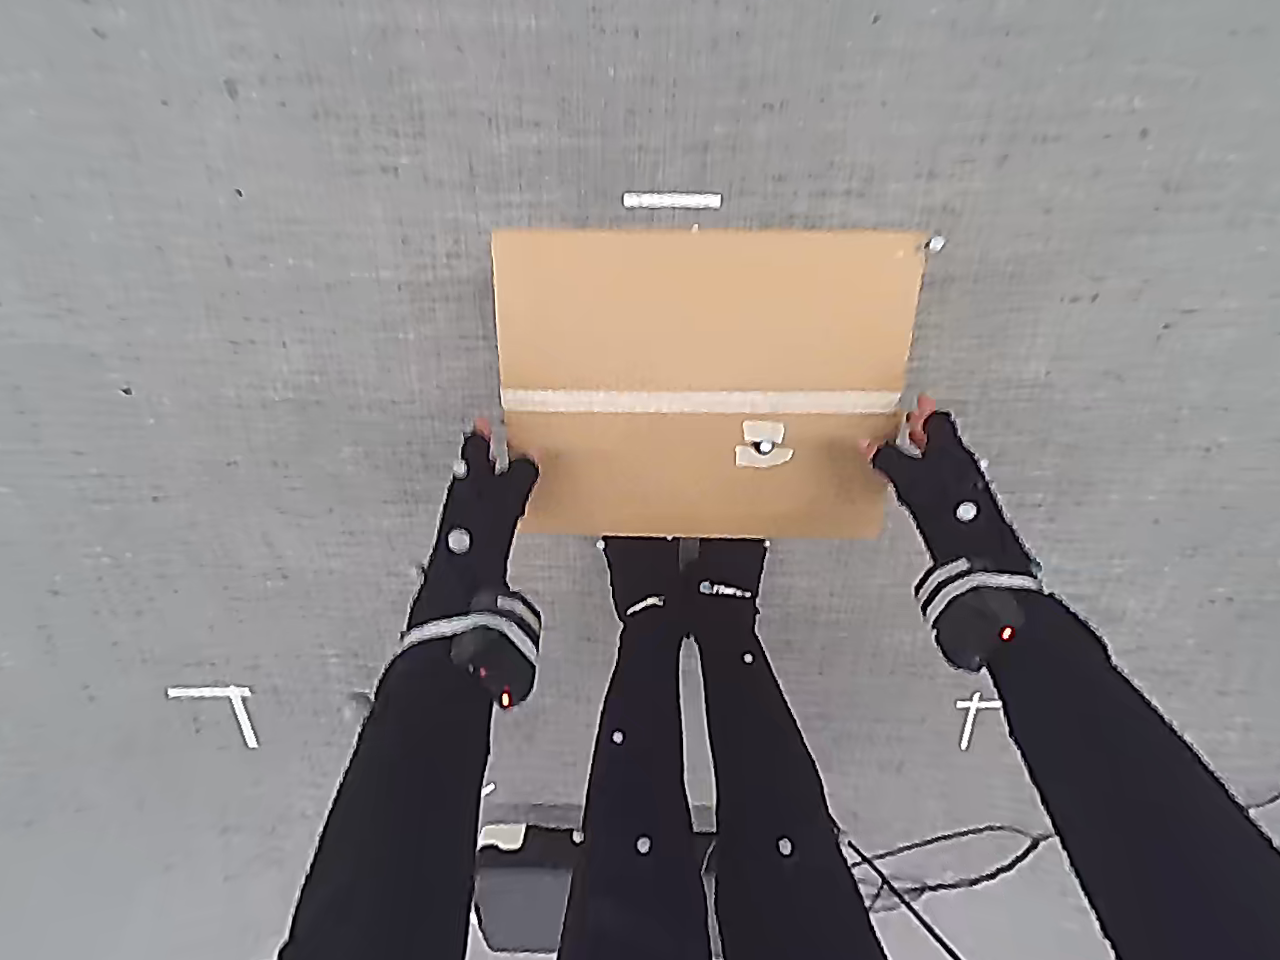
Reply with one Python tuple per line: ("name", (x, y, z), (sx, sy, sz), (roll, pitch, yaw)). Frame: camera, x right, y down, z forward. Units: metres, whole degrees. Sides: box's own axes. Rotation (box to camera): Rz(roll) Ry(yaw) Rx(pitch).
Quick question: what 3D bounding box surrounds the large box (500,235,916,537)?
("large box", (0.066, -0.131, 0.701), (0.408, 0.320, 0.320), (0, 110, 1))
